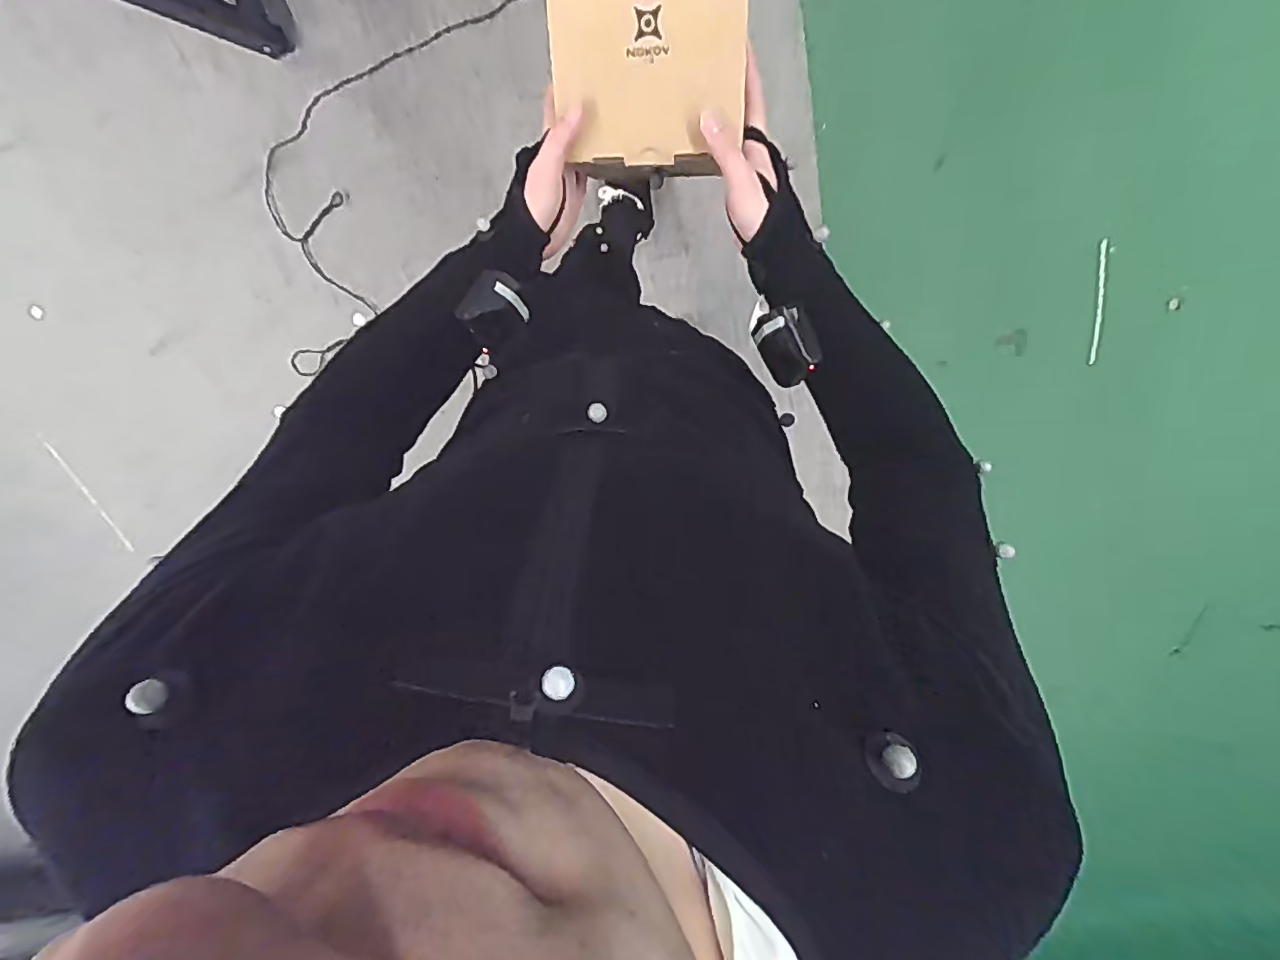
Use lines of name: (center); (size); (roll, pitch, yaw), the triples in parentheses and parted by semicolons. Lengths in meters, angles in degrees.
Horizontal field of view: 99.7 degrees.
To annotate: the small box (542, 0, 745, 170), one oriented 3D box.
small box: (0.013, -0.397, 0.510); (0.168, 0.176, 0.179); (1, 116, 7)
